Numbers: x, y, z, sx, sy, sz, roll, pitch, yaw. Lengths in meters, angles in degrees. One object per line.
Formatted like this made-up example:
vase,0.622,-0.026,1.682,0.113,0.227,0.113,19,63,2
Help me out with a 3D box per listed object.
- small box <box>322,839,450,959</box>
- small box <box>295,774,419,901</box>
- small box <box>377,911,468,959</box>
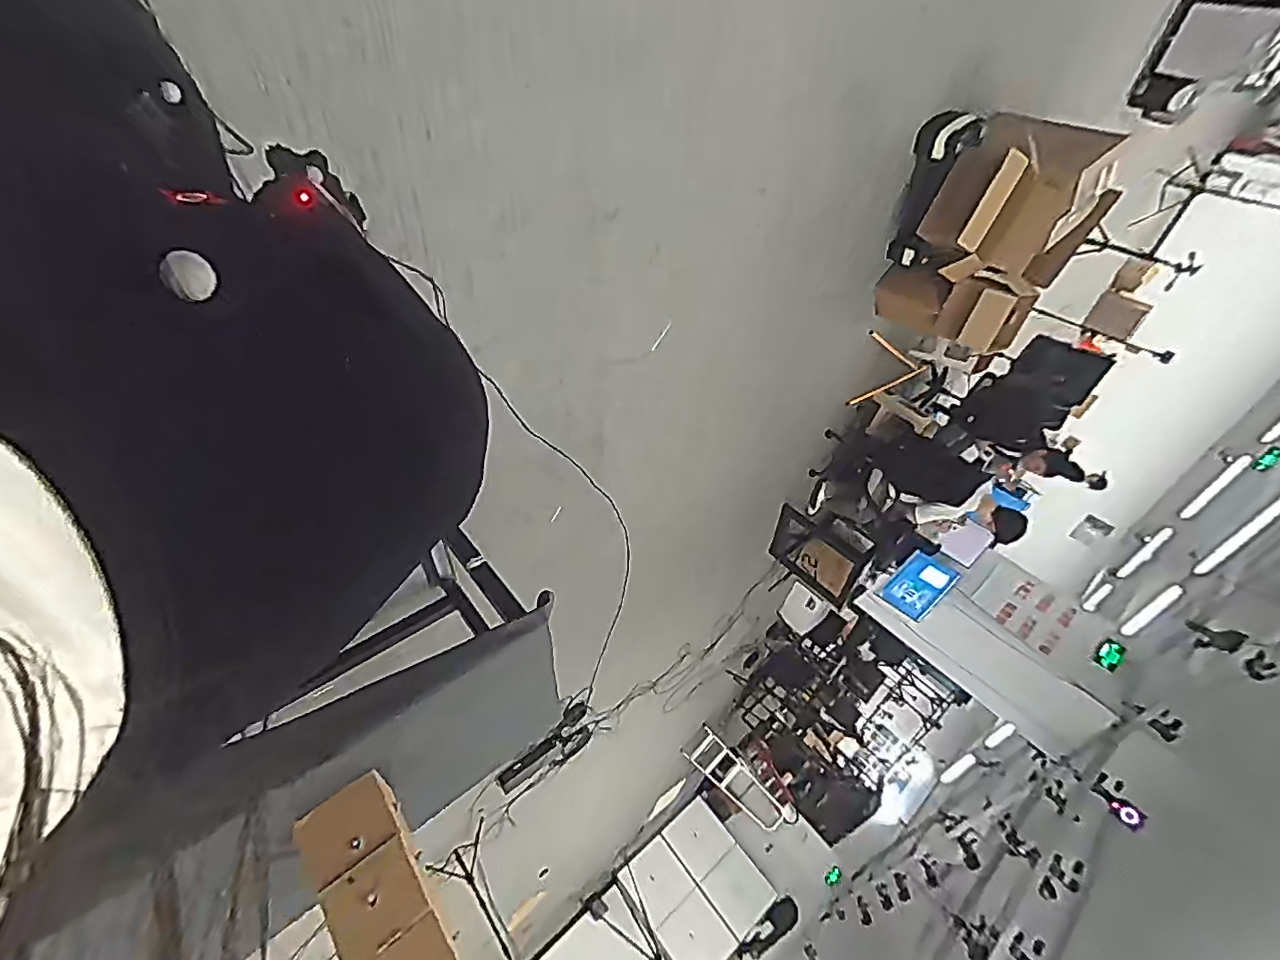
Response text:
small box,-0.520,0.884,1.112,0.168,0.176,0.179,-30,142,-29
small box,-0.626,0.799,1.203,0.179,0.176,0.168,-28,142,-29
small box,-0.417,0.973,1.019,0.179,0.176,0.168,-30,143,-27
